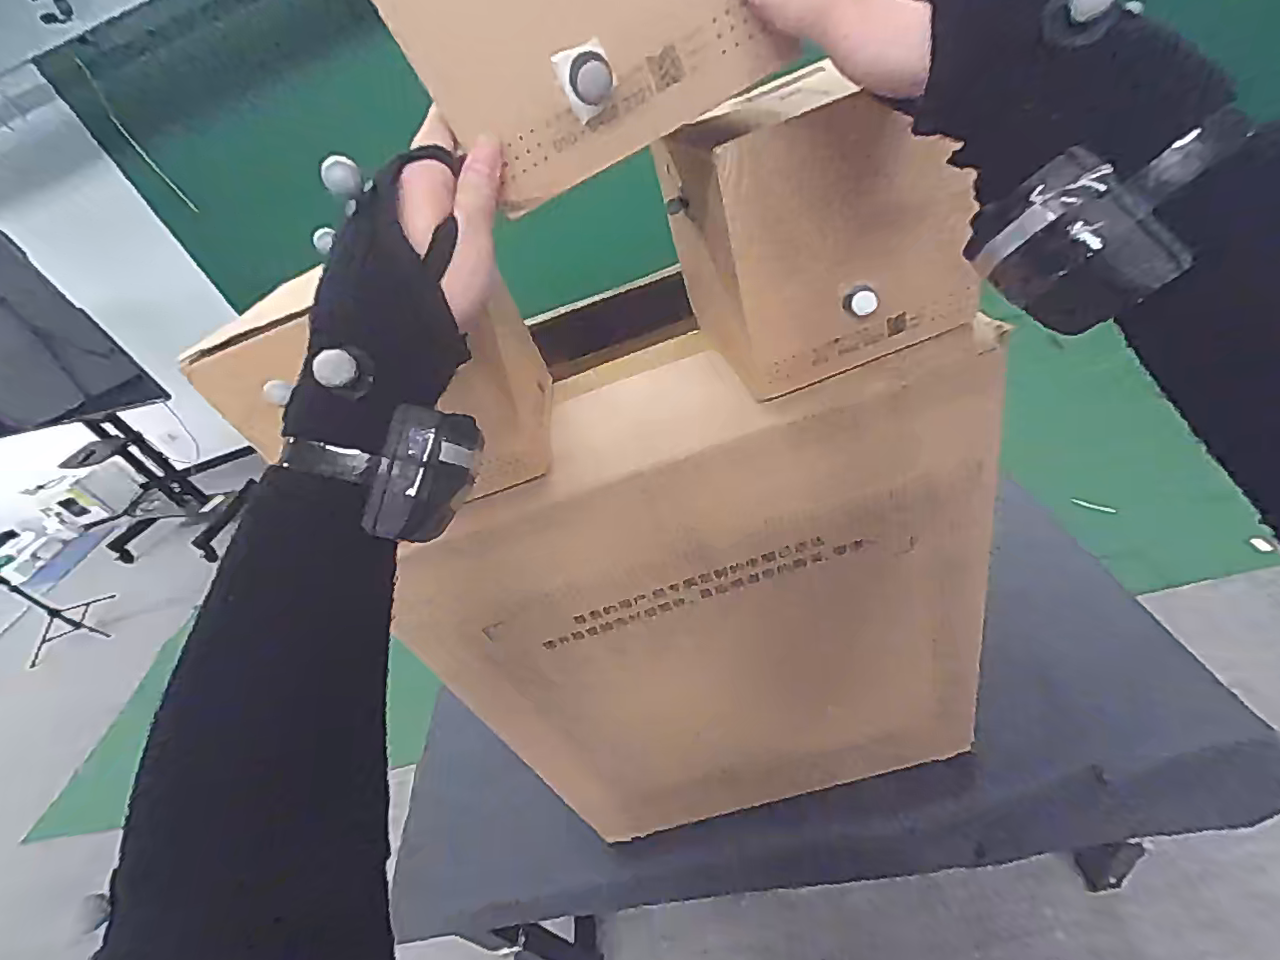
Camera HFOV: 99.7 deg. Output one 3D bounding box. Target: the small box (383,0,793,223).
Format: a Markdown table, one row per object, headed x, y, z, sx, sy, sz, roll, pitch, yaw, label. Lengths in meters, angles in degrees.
| x | y | z | sx | sy | sz | roll | pitch | yaw | label |
| --- | --- | --- | --- | --- | --- | --- | --- | --- | --- |
| -0.037 | -0.271 | 0.295 | 0.168 | 0.176 | 0.179 | -24 | 39 | 13 | small box |

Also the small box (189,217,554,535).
| x | y | z | sx | sy | sz | roll | pitch | yaw | label |
| --- | --- | --- | --- | --- | --- | --- | --- | --- | --- |
| -0.188 | -0.081 | 0.442 | 0.179 | 0.176 | 0.168 | -20 | 38 | 8 | small box |
